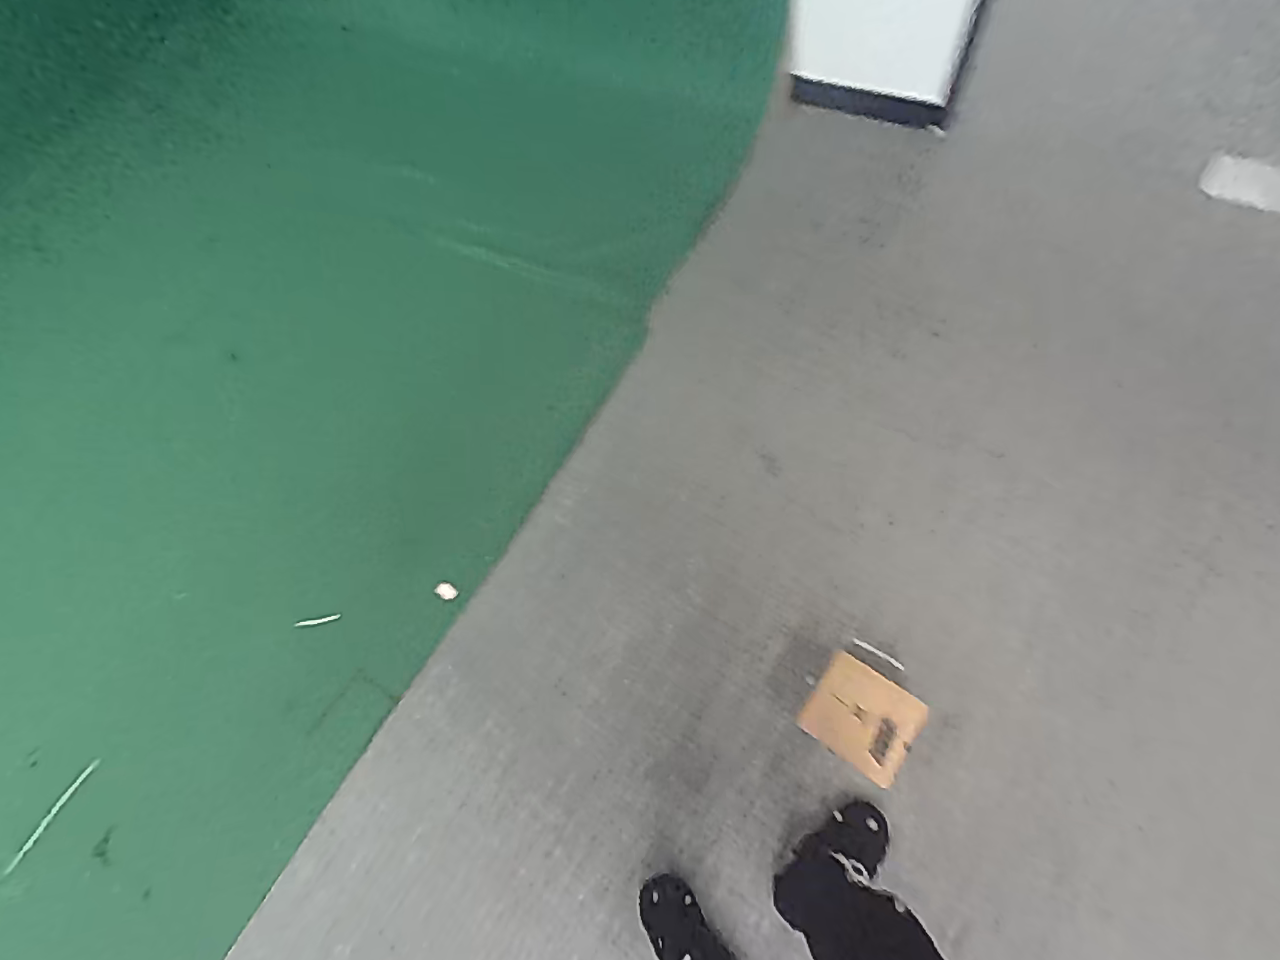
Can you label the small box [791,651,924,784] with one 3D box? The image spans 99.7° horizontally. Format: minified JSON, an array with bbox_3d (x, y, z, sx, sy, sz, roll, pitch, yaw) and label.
[{"bbox_3d":[0.416,0.454,1.064,0.179,0.176,0.168,30,79,19],"label":"small box"}]
